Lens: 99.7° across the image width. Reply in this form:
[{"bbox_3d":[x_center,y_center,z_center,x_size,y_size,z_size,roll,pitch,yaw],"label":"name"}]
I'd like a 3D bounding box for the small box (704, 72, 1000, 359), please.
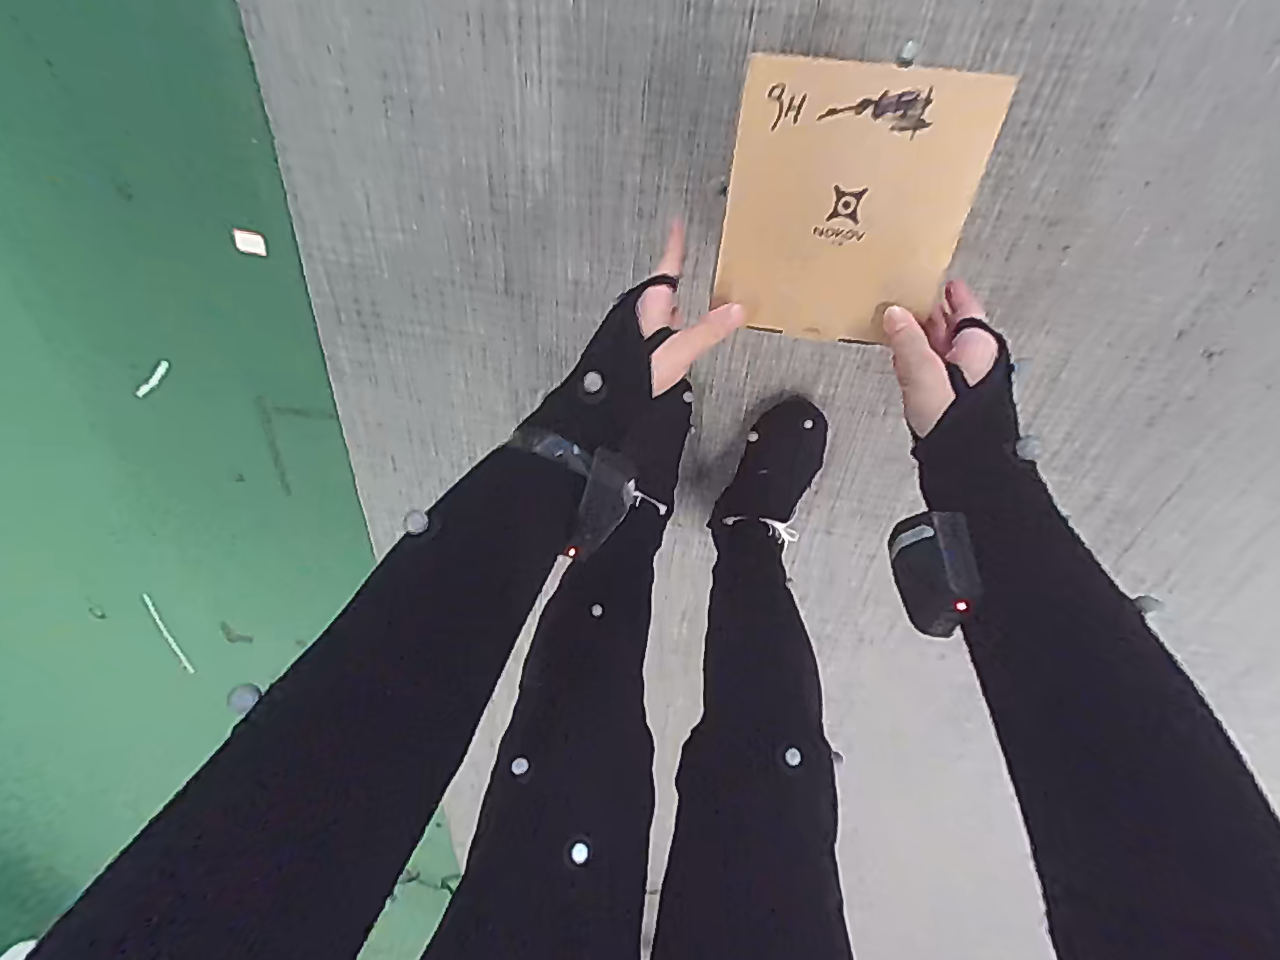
[{"bbox_3d":[0.150,-0.223,0.453,0.168,0.176,0.179,8,124,4],"label":"small box"}]
